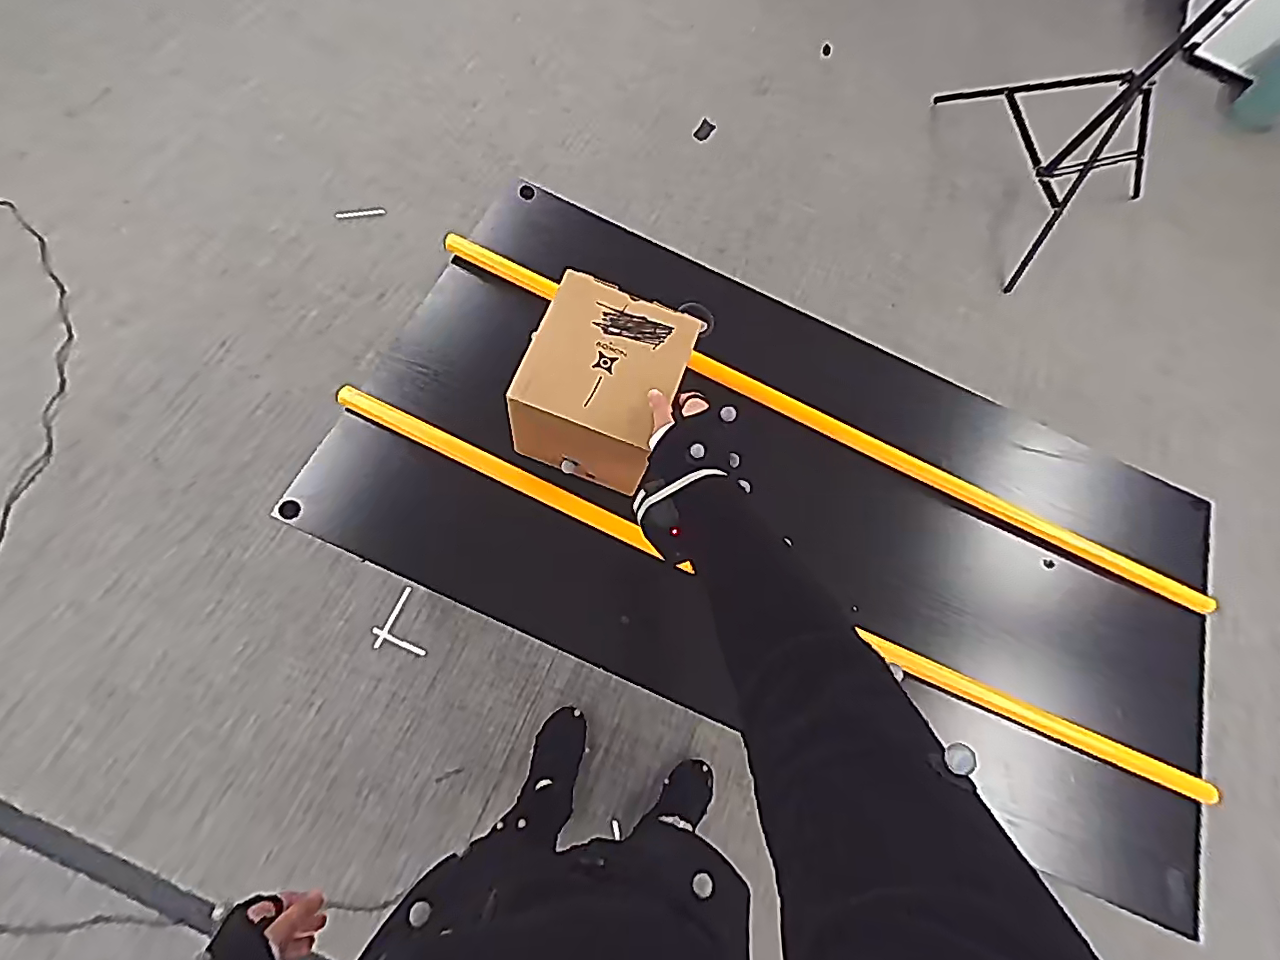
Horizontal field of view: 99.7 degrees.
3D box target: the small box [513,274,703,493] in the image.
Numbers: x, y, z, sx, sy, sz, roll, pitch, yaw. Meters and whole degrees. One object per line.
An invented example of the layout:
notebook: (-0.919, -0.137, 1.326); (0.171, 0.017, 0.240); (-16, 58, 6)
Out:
small box: (-0.043, -0.107, 0.665); (0.168, 0.176, 0.179); (21, 71, -2)
